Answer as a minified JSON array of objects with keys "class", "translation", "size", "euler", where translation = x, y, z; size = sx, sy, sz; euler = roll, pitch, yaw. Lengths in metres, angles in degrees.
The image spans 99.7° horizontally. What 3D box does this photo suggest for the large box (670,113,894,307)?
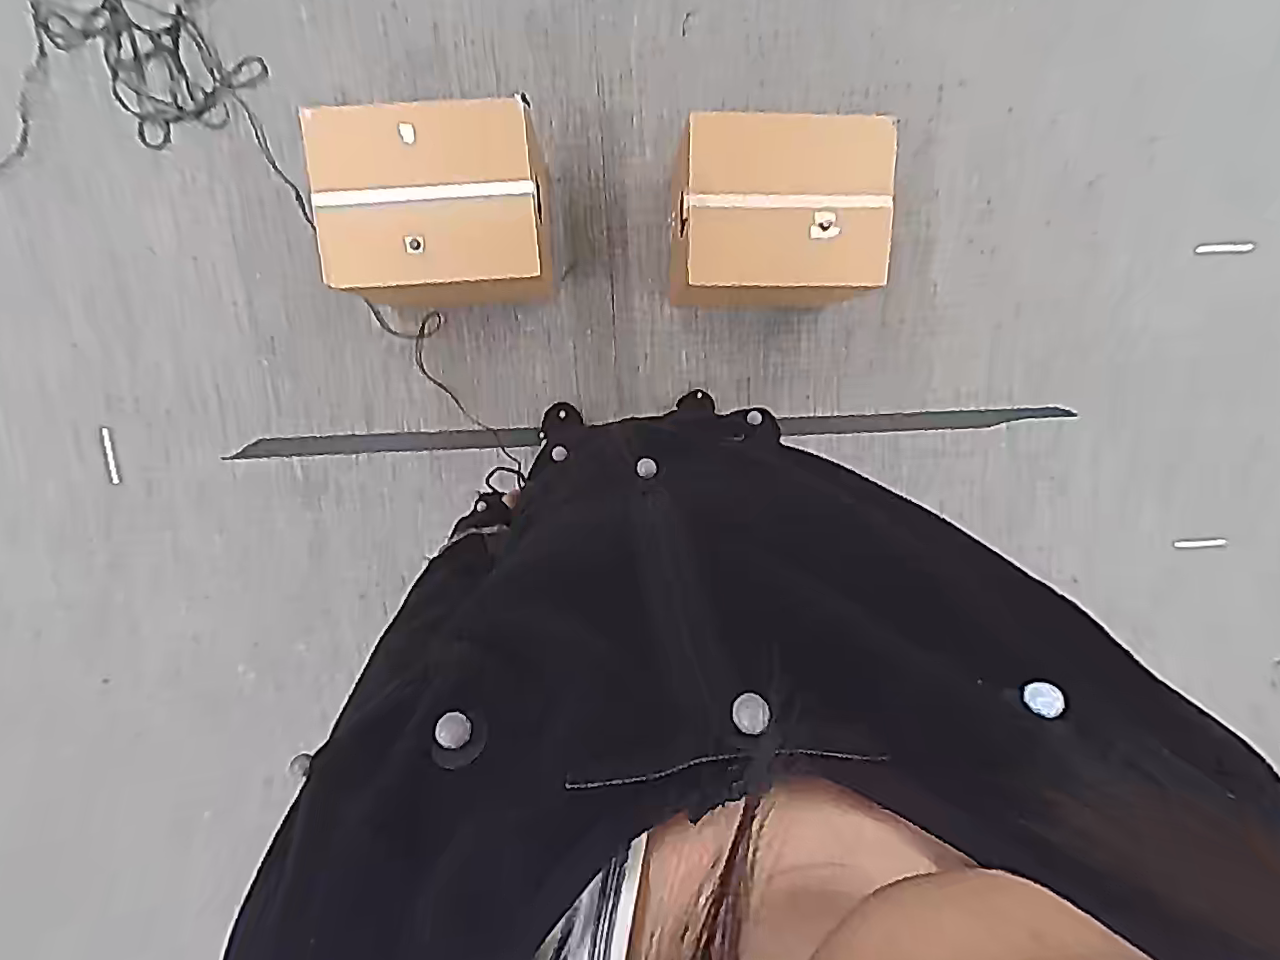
[{"class":"large box","translation":[0.284,-0.569,1.201],"size":[0.408,0.320,0.320],"euler":[-1,100,-4]}]
